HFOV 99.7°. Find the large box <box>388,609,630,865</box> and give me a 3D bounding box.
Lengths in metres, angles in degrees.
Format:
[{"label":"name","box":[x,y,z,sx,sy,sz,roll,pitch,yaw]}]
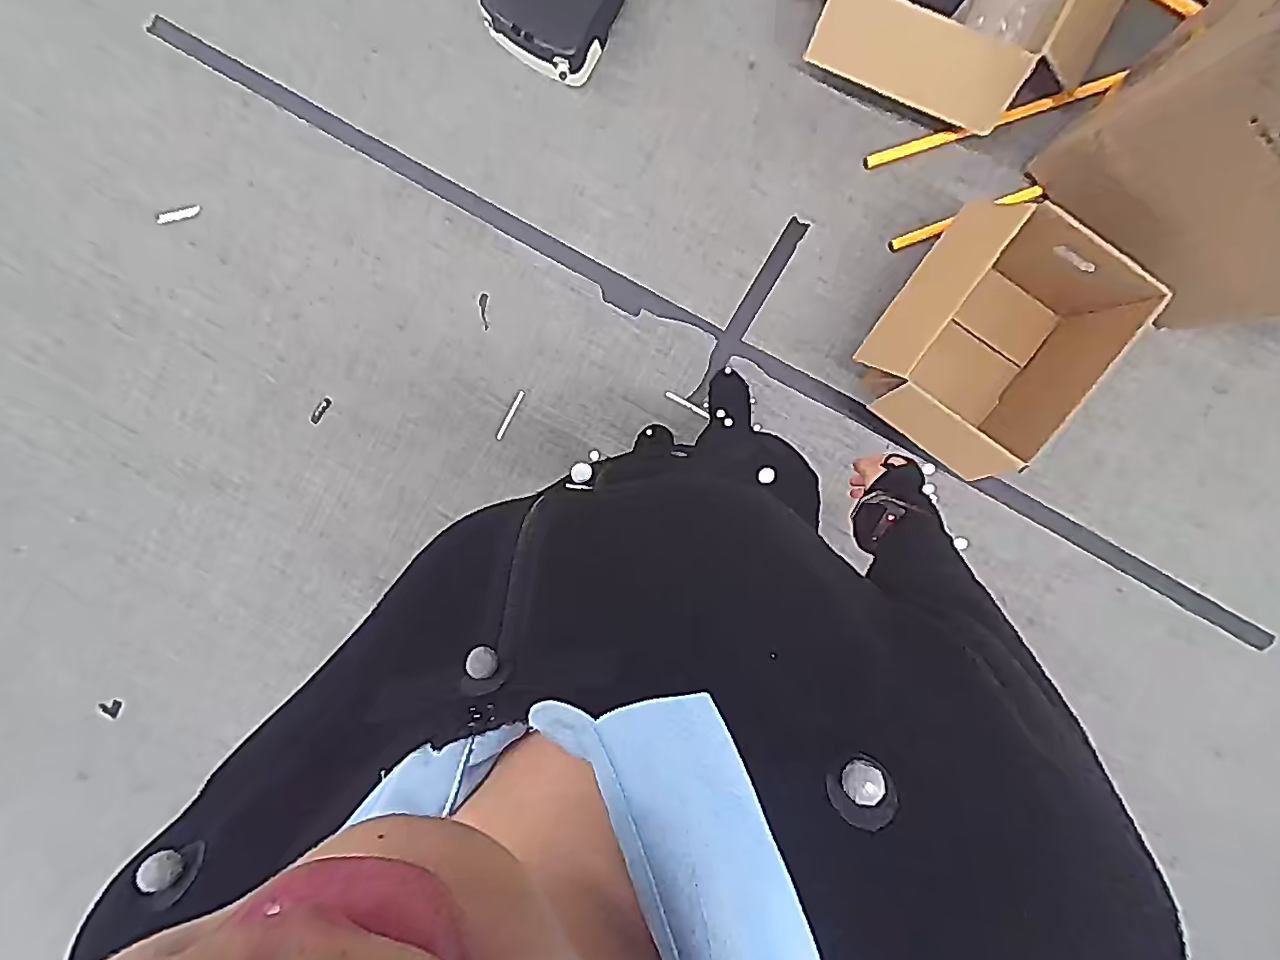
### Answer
[{"label":"large box","box":[-0.282,0.576,1.275,0.408,0.320,0.320,31,99,1]}]
